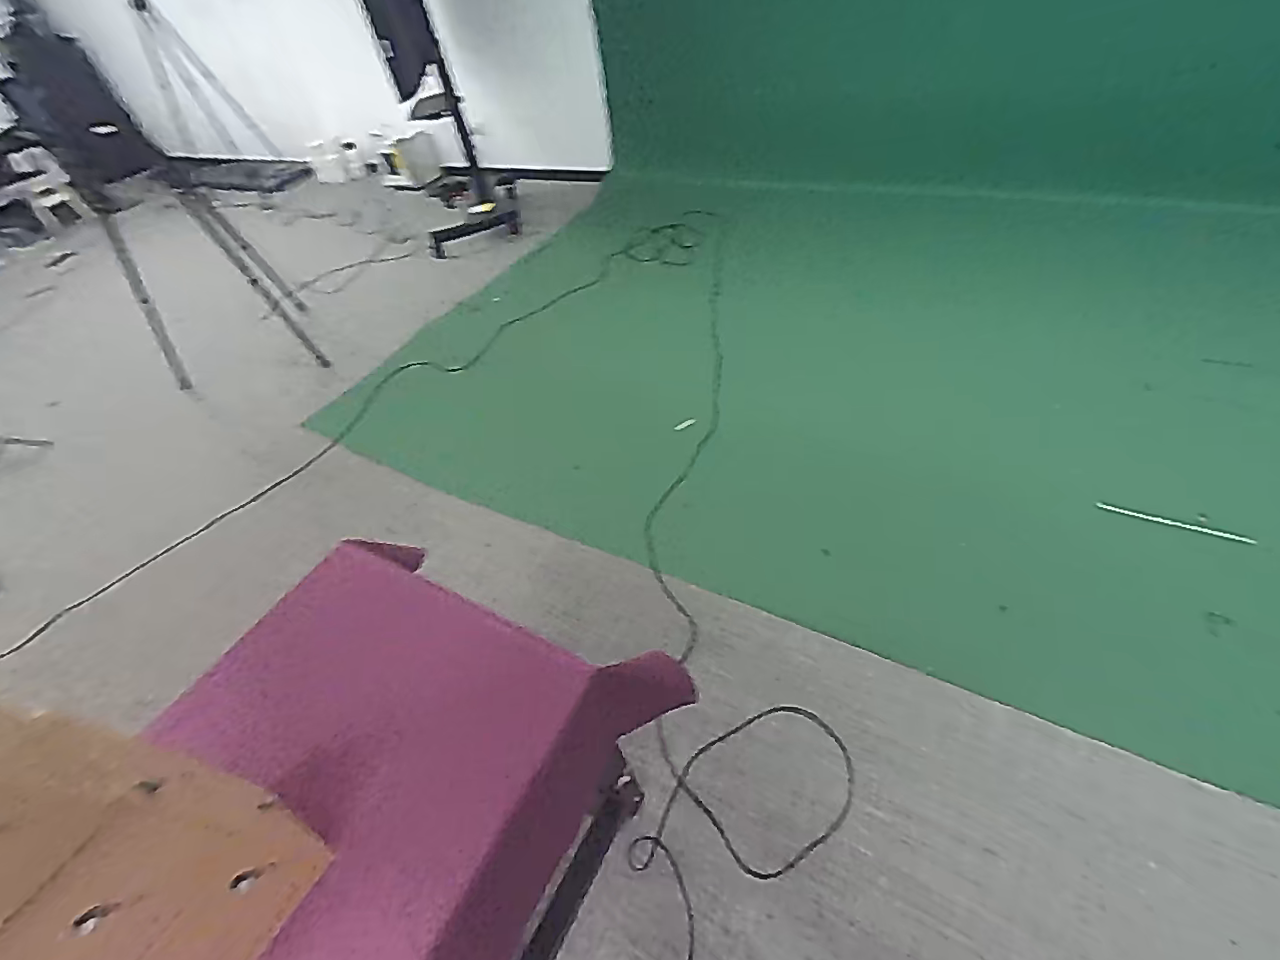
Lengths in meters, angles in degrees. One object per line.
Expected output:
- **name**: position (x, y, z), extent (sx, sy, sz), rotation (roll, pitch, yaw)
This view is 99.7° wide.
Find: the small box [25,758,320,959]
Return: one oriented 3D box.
- **small box**: position (-0.513, 0.468, 0.627), extent (0.168, 0.176, 0.179), rotation (18, 54, 26)
